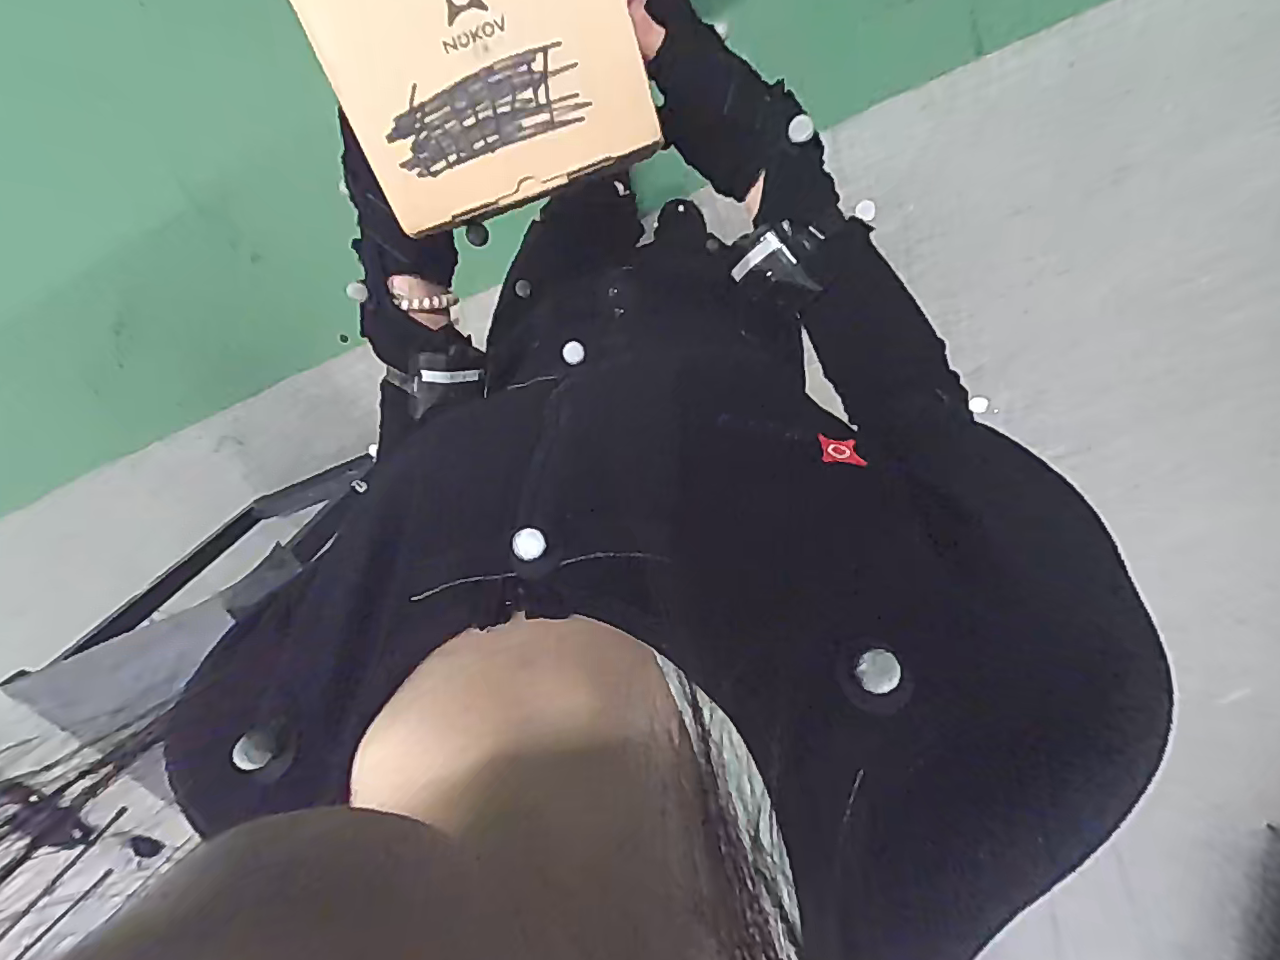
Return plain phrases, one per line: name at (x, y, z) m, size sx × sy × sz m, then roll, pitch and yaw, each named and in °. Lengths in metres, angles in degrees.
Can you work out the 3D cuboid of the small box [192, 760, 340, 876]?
small box at (-0.791, 0.738, 1.173) m, size 0.179 × 0.176 × 0.168 m, roll -19°, pitch 117°, yaw 15°
